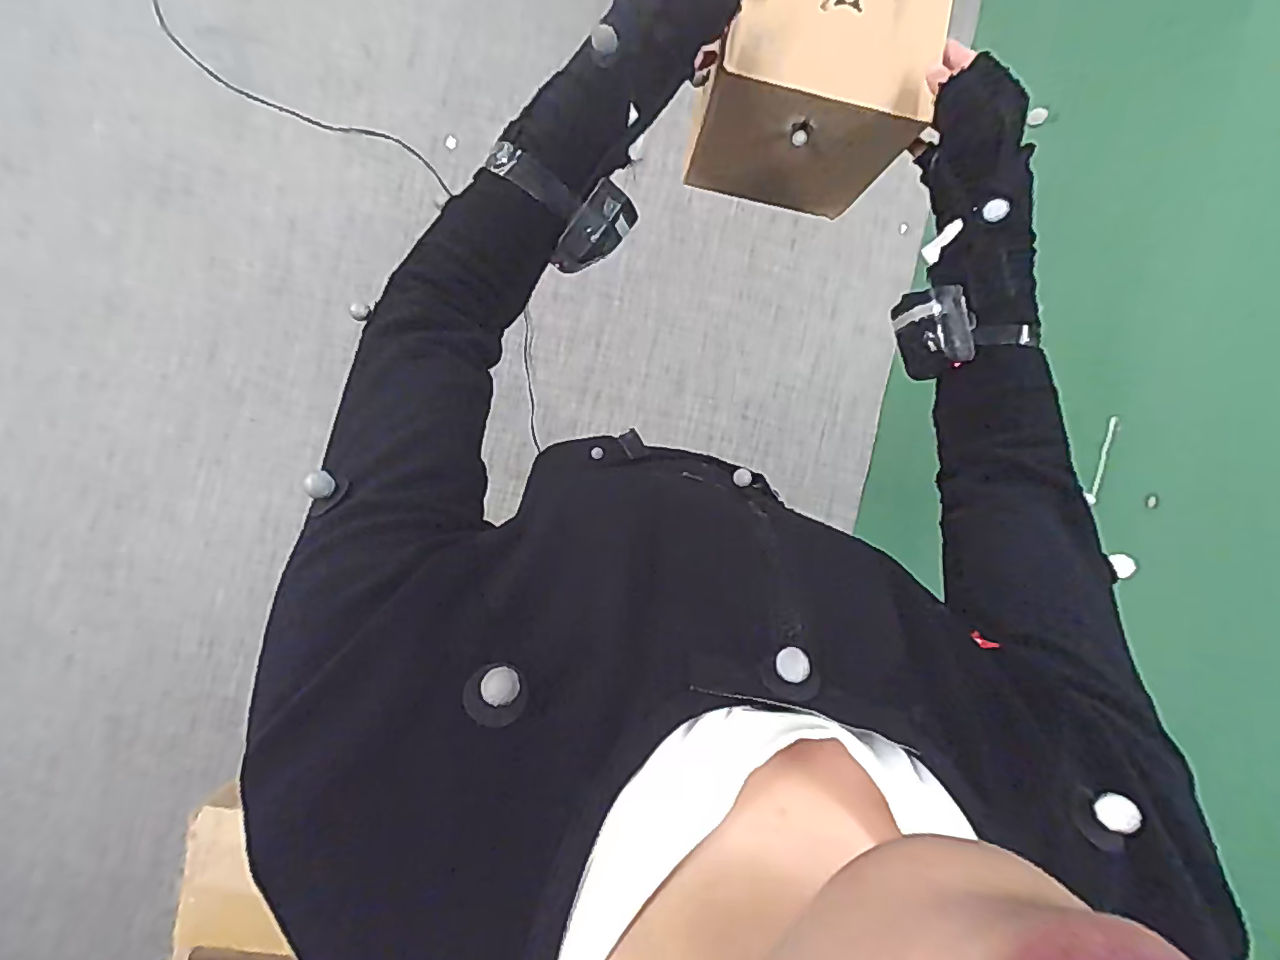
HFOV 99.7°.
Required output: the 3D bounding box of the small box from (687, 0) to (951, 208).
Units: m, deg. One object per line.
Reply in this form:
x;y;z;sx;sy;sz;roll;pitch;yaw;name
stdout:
0.151;-0.381;0.500;0.179;0.176;0.168;10;91;-7;small box
